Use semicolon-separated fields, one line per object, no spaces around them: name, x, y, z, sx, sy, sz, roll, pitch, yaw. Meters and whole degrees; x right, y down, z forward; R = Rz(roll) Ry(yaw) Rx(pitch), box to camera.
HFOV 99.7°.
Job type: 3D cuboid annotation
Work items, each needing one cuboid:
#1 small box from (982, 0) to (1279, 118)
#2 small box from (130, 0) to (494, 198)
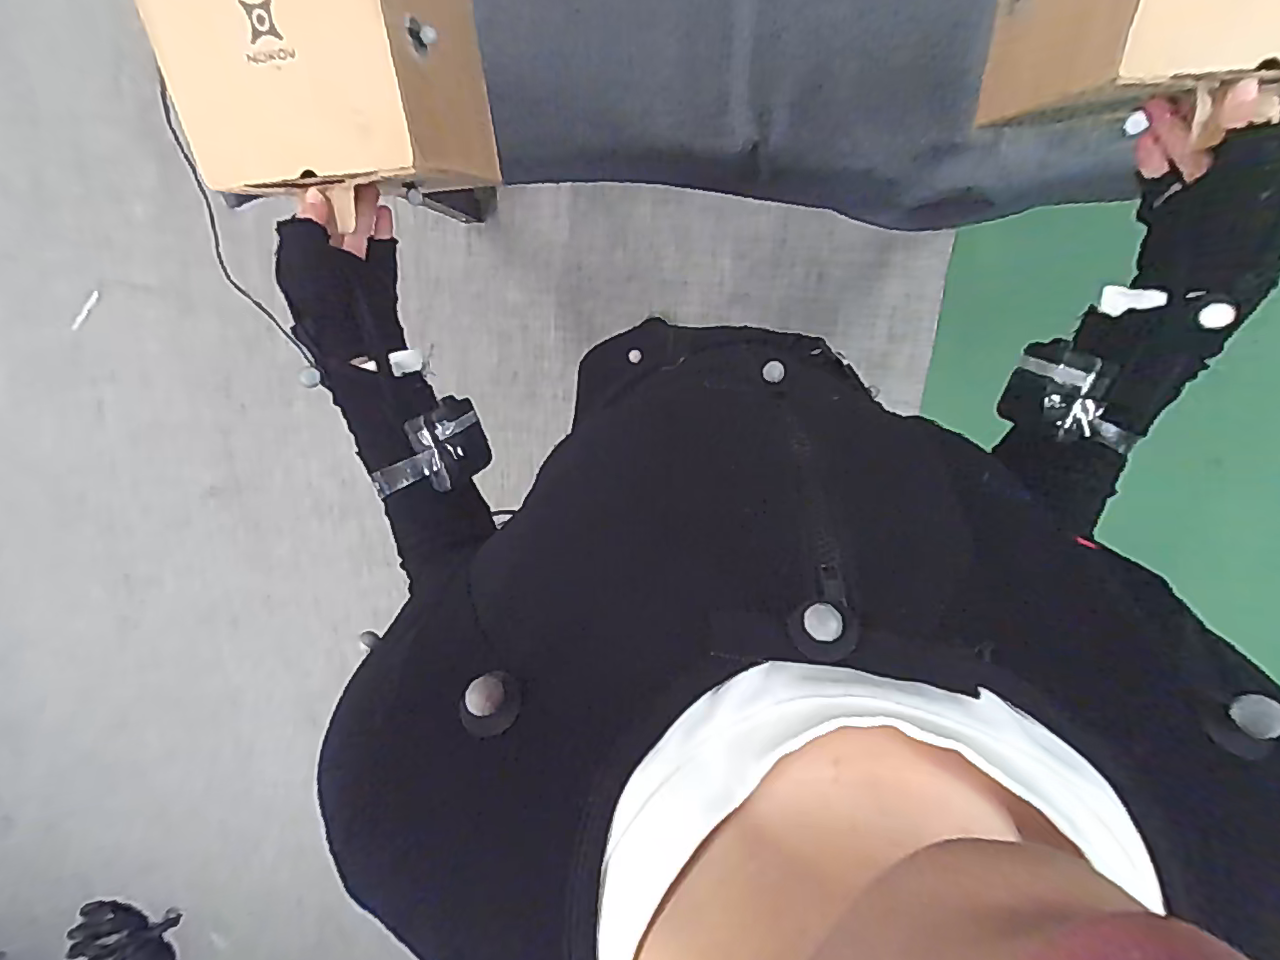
small box;0.354;-0.343;0.343;0.168;0.176;0.179;-1;116;3
small box;-0.227;-0.318;0.409;0.168;0.176;0.179;-2;114;8
